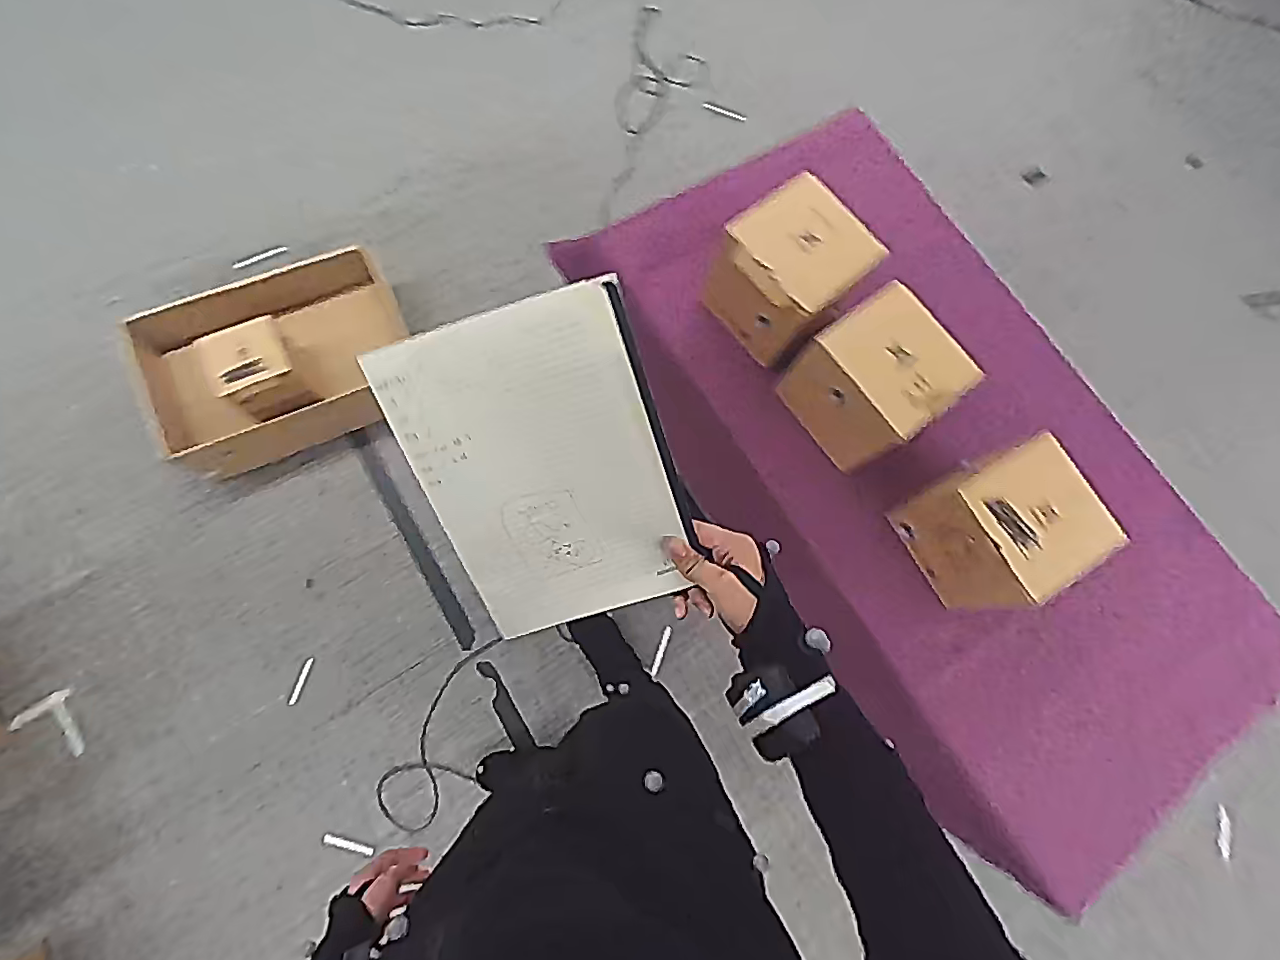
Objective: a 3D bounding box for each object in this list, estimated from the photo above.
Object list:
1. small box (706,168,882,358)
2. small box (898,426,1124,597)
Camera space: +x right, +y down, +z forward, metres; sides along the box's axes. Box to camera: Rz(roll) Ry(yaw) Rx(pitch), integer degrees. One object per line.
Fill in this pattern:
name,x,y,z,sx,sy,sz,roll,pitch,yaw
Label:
small box,0.219,-0.320,0.829,0.179,0.176,0.168,-39,84,-14
small box,0.502,0.055,0.767,0.179,0.176,0.168,-28,81,-13
